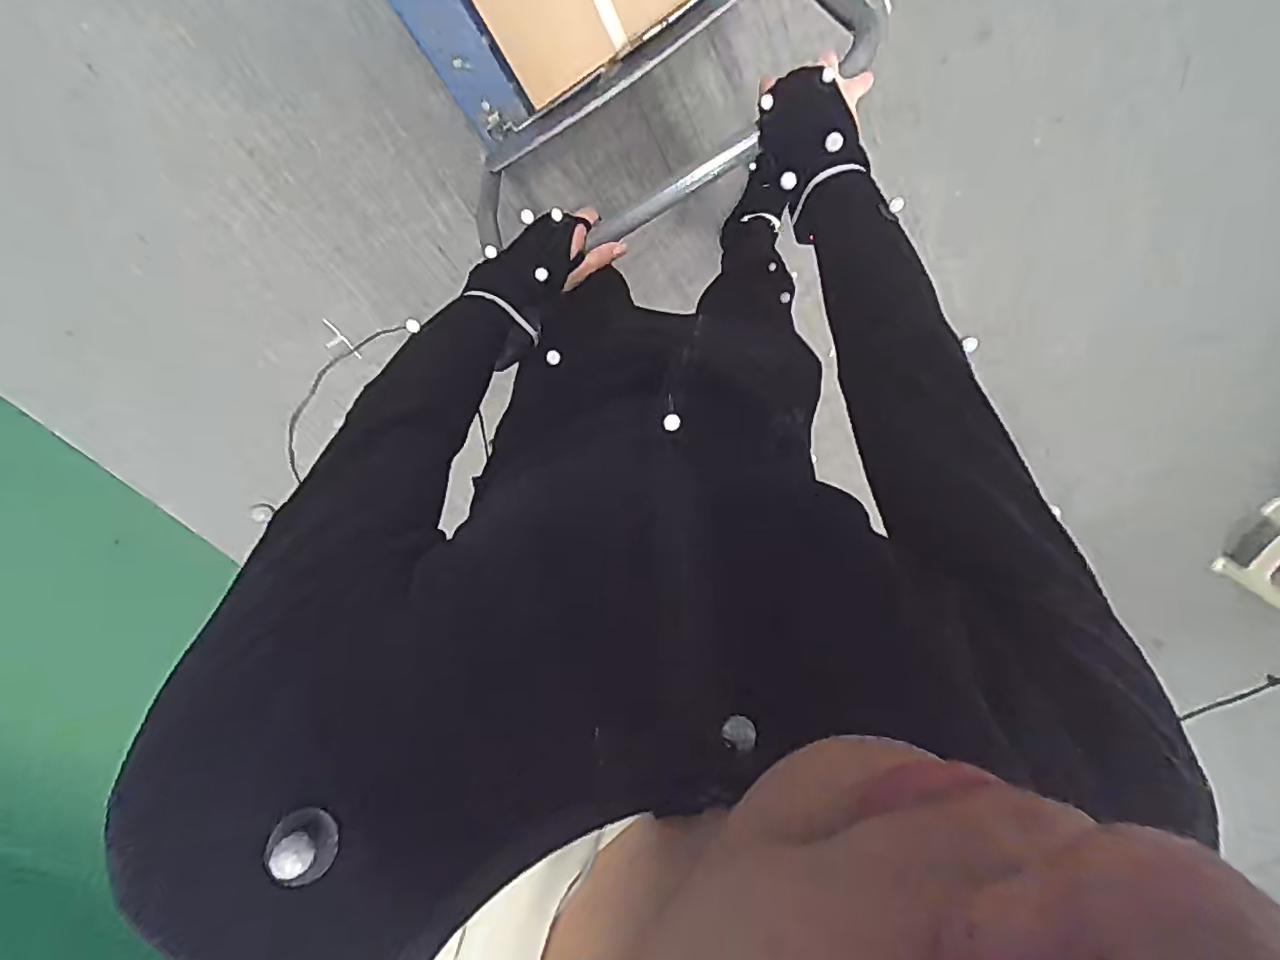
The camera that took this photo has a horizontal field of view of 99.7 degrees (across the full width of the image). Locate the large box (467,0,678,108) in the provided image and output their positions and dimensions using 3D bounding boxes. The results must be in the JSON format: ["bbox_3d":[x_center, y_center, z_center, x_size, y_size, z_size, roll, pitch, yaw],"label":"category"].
[{"bbox_3d":[-0.148,-0.866,0.801,0.320,0.320,0.408,-28,129,15],"label":"large box"}]
